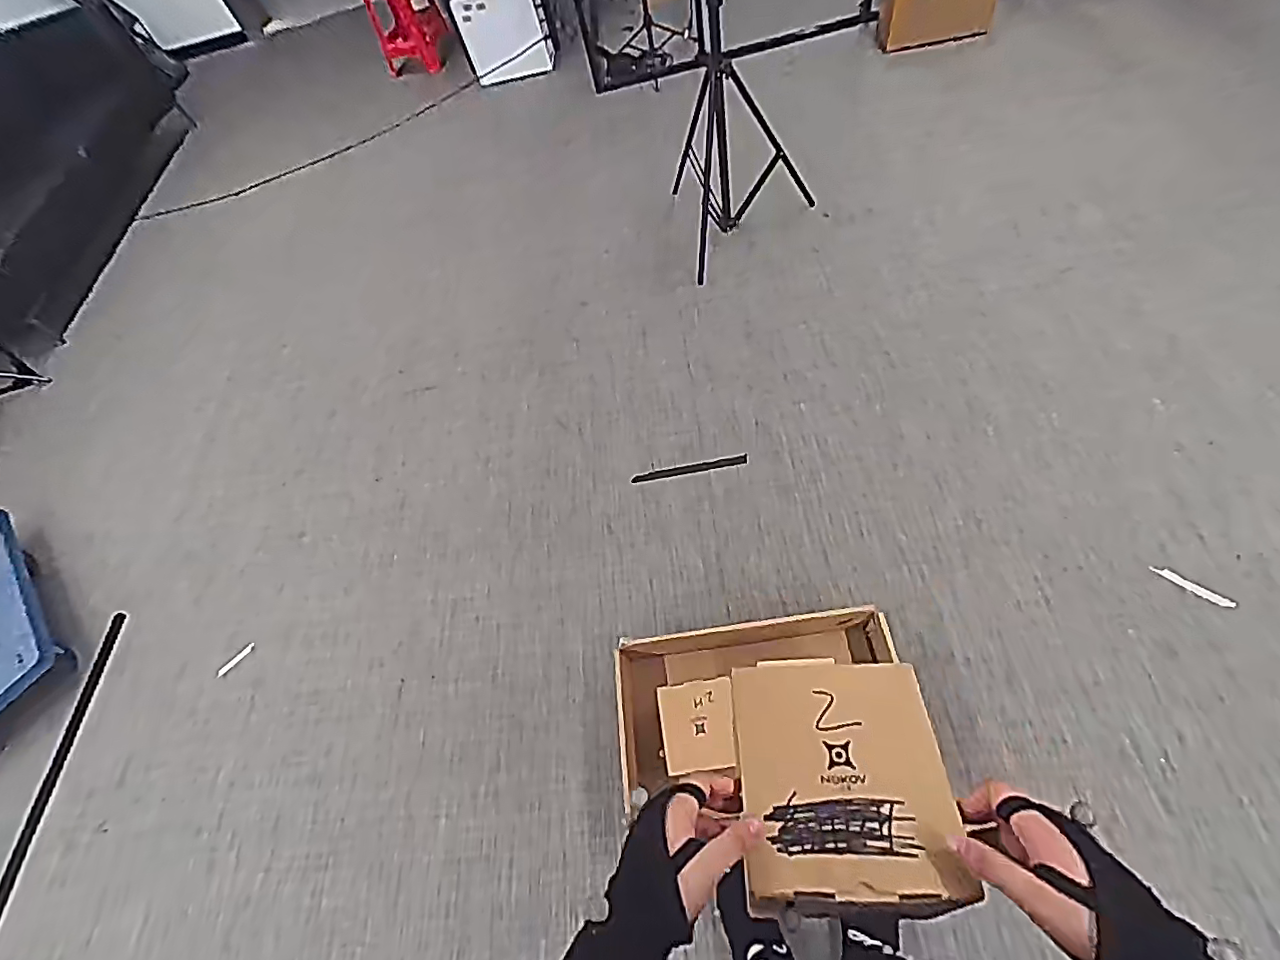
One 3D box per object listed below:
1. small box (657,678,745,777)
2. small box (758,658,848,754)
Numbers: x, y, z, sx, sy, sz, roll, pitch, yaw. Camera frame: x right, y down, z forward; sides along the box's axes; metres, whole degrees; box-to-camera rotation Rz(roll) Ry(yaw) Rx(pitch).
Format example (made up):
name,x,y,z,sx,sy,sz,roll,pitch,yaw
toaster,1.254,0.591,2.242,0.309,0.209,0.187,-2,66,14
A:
name,x,y,z,sx,sy,sz,roll,pitch,yaw
small box,0.139,0.555,1.207,0.168,0.176,0.179,-11,59,5
small box,0.350,0.502,1.193,0.168,0.176,0.179,-6,60,10
